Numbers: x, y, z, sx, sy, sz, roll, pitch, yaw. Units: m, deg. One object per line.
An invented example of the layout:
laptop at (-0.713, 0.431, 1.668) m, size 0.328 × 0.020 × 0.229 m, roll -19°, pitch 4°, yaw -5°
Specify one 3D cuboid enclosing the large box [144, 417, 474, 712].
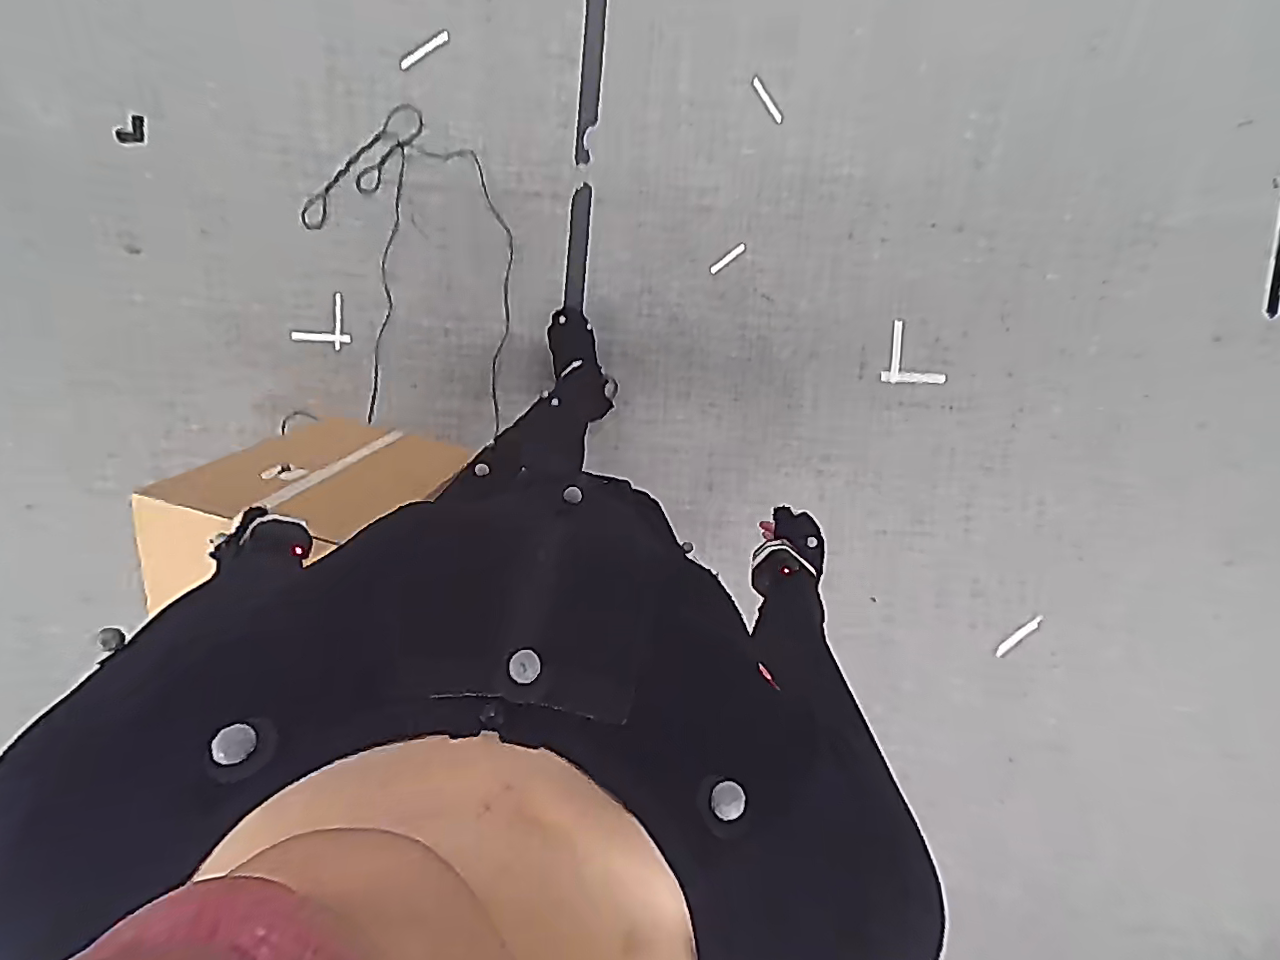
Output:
large box at (-0.526, 0.116, 0.953) m, size 0.320 × 0.408 × 0.320 m, roll 13°, pitch 113°, yaw 2°
